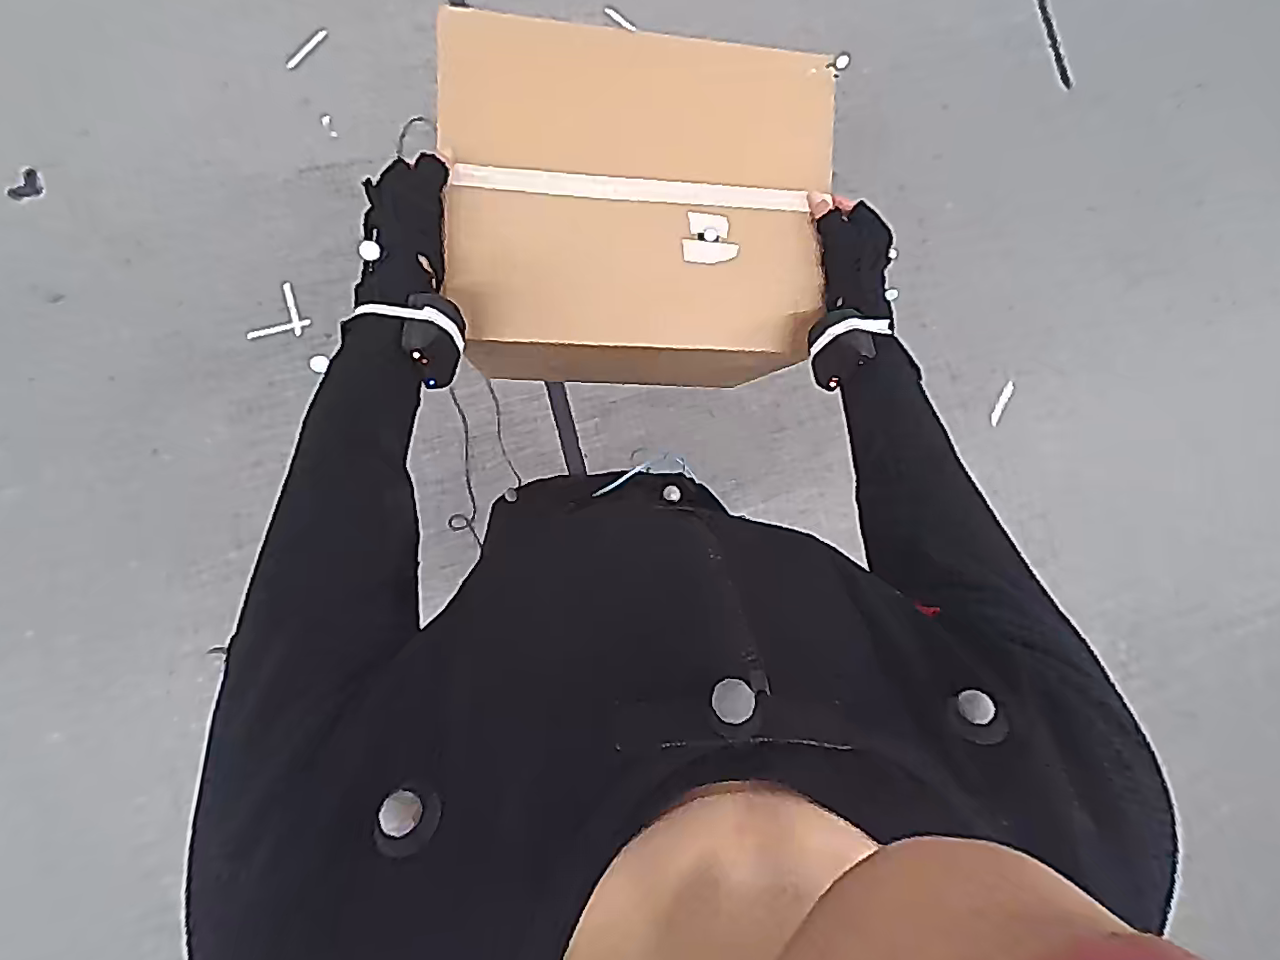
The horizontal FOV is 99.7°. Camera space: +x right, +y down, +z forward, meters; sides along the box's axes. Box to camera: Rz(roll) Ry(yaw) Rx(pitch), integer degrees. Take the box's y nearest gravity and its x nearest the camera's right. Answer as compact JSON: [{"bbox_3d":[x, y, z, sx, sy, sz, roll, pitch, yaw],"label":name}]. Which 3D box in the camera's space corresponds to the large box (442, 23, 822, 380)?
[{"bbox_3d":[-0.022,-0.307,0.712,0.408,0.320,0.320,0,93,-9],"label":"large box"}]
